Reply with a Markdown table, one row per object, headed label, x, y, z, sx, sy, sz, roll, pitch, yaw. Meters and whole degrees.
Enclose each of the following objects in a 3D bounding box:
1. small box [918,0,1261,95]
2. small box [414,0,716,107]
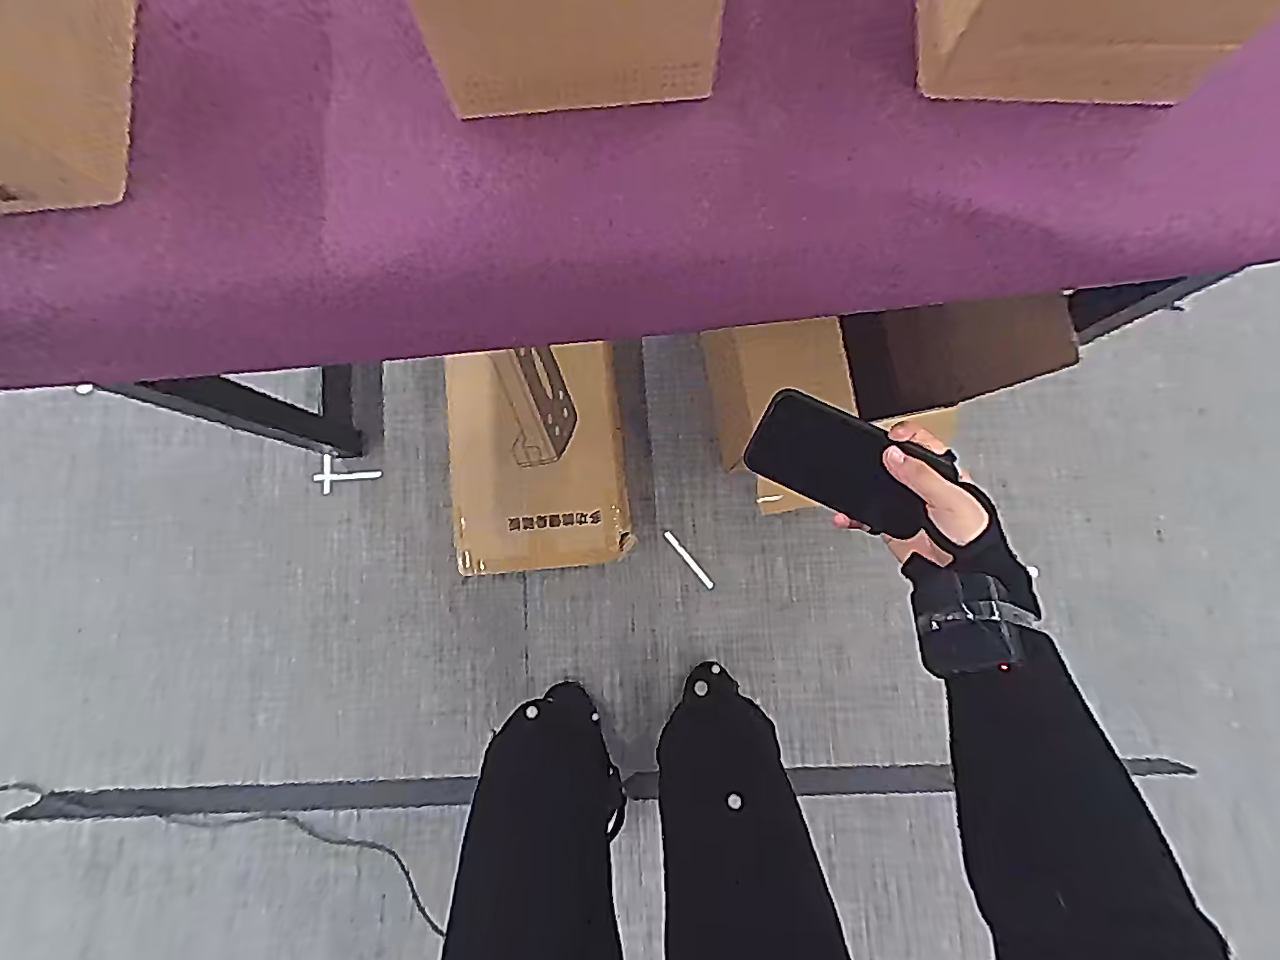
| label | x | y | z | sx | sy | sz | roll | pitch | yaw |
| --- | --- | --- | --- | --- | --- | --- | --- | --- | --- |
| small box | 0.274 | -0.352 | 0.297 | 0.179 | 0.176 | 0.168 | 2 | 82 | 0 |
| small box | -0.045 | -0.347 | 0.298 | 0.179 | 0.176 | 0.168 | -5 | 80 | 0 |
